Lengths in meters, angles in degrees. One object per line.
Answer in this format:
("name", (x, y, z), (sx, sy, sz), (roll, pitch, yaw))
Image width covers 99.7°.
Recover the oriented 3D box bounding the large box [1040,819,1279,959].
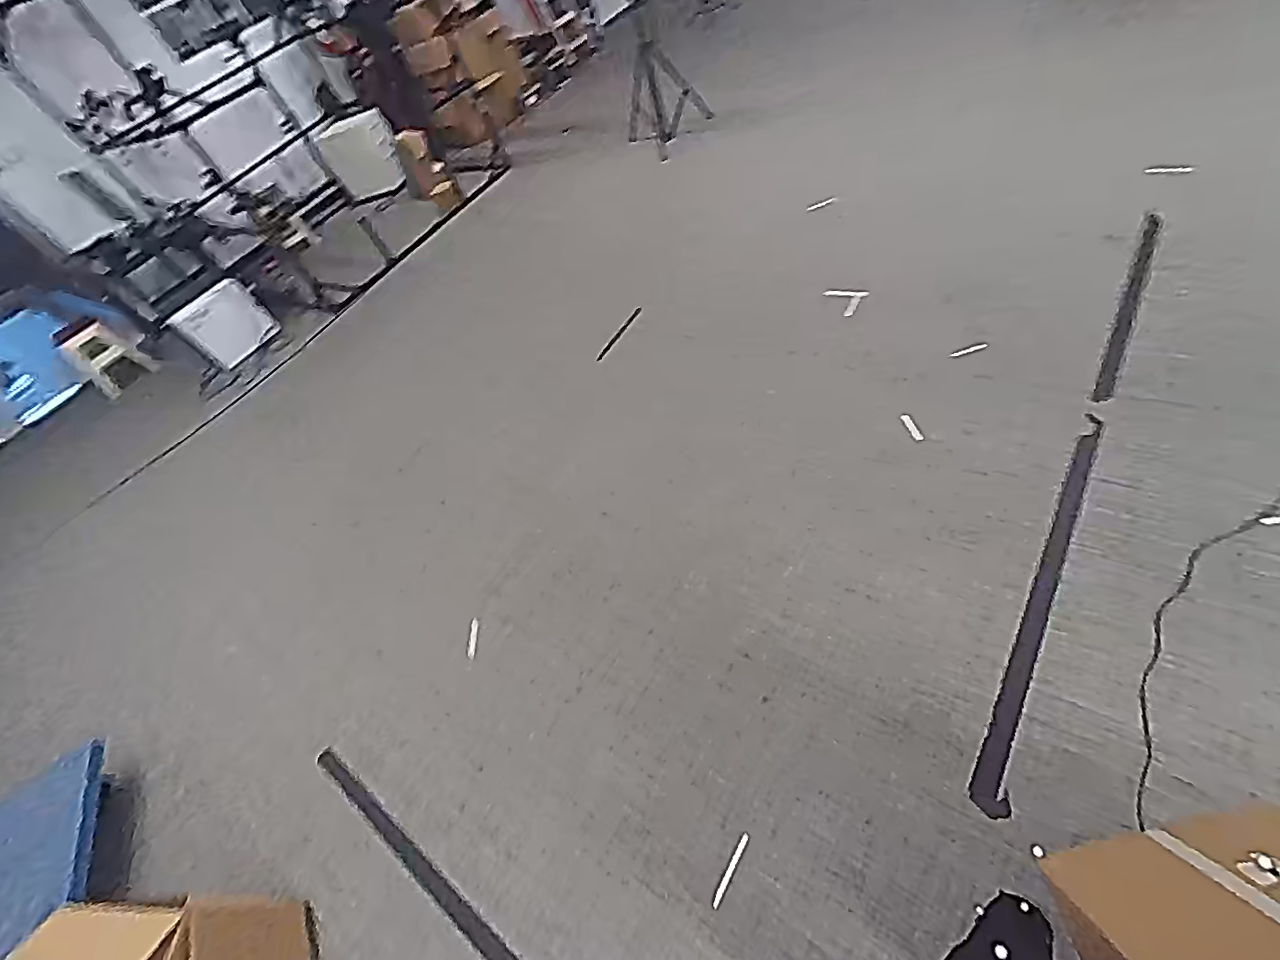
("large box", (0.717, 0.610, 0.527), (0.320, 0.408, 0.320), (-19, 75, 9))
